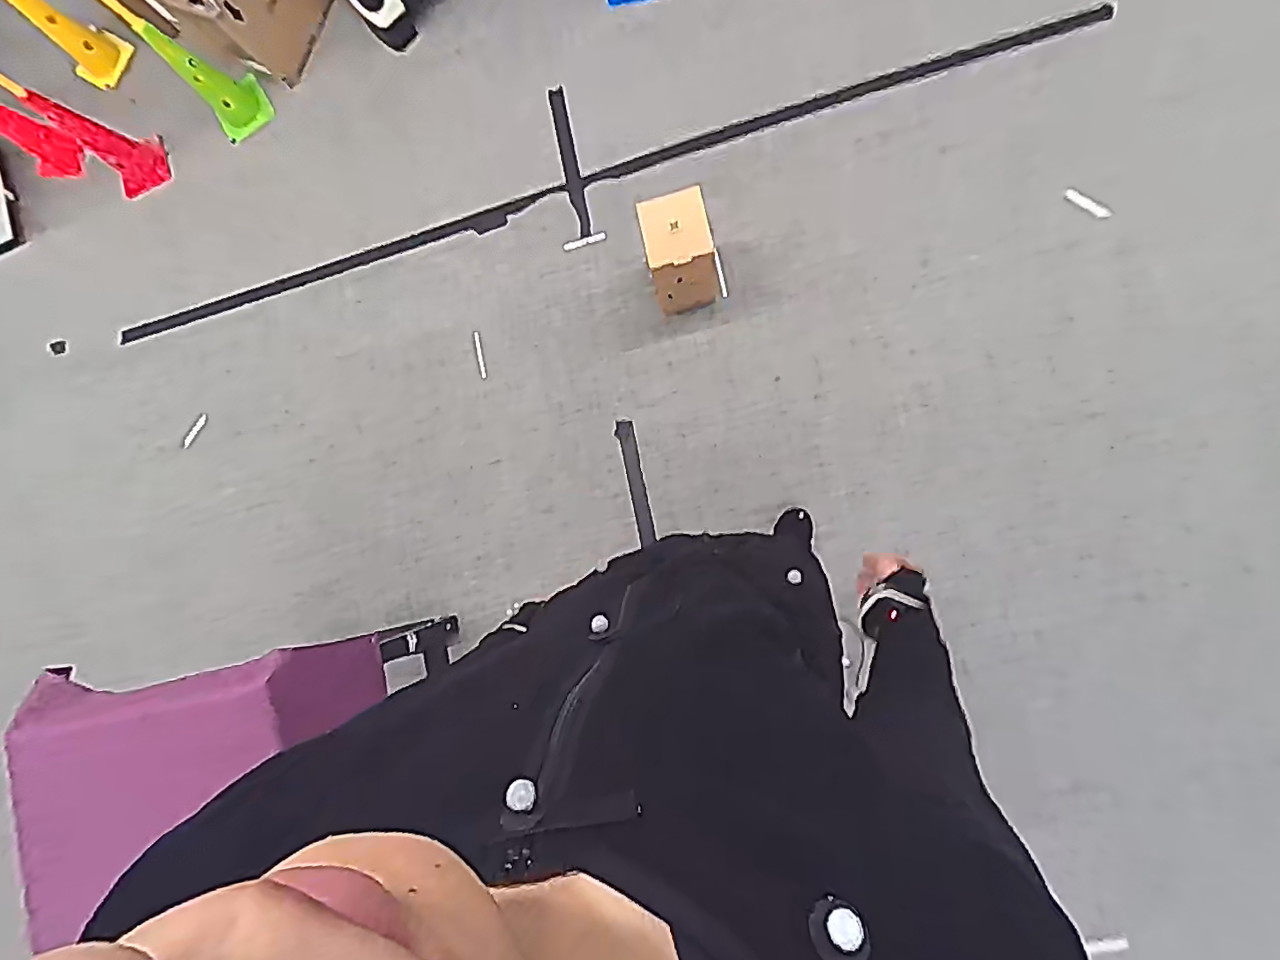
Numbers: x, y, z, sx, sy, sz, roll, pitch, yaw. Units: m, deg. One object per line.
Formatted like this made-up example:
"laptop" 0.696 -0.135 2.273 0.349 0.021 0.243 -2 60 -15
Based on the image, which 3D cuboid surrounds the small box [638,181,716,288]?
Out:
"small box" 0.098 -0.633 1.411 0.168 0.176 0.179 -13 85 7
